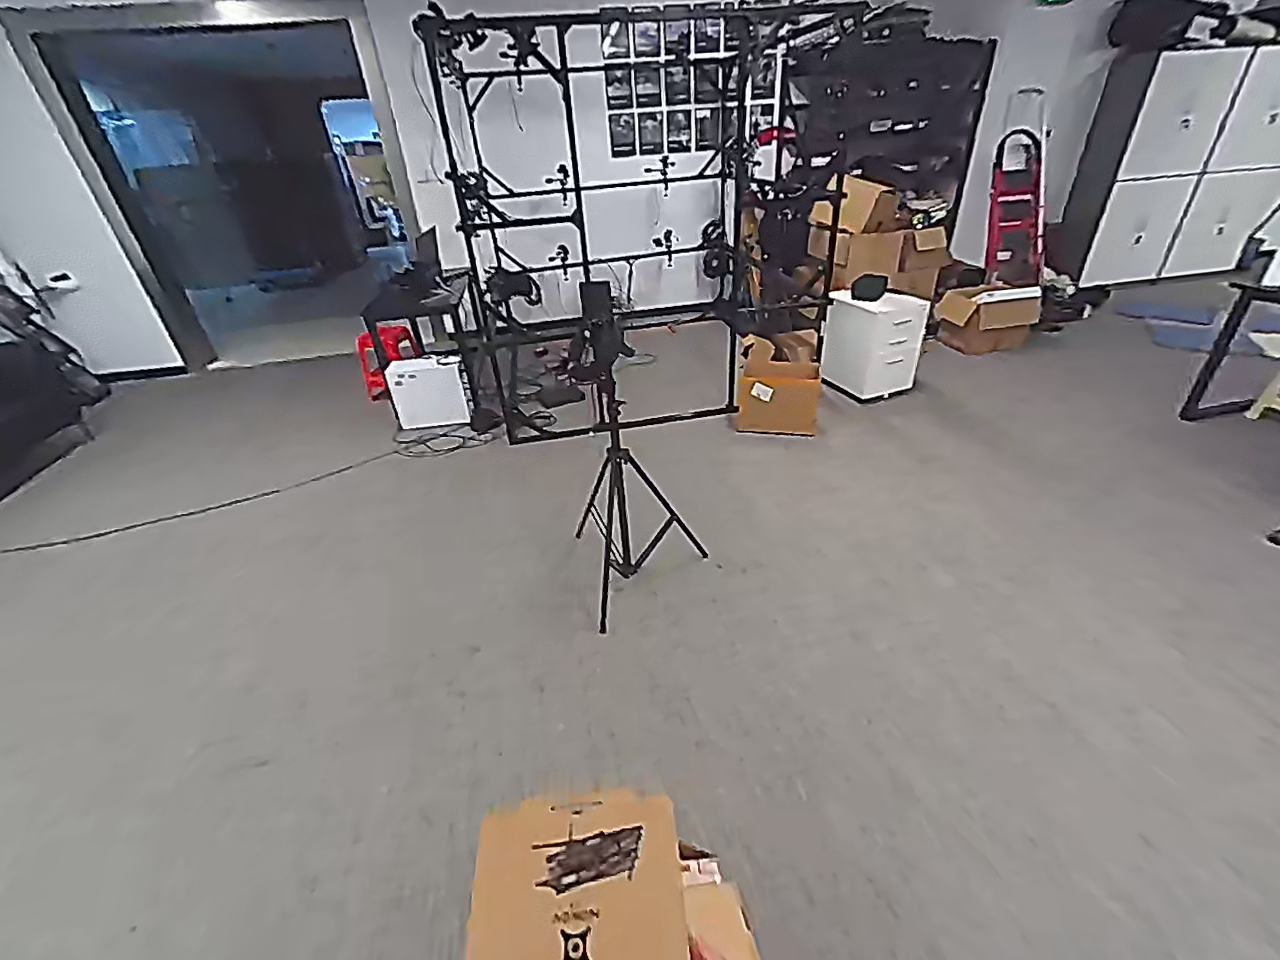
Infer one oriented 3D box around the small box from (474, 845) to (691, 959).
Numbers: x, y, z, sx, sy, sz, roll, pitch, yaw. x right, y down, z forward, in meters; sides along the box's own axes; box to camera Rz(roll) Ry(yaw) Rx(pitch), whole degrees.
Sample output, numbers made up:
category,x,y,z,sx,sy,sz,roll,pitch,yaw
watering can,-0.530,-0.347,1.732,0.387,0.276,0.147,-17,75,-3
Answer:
category,x,y,z,sx,sy,sz,roll,pitch,yaw
small box,-0.040,0.431,0.441,0.168,0.176,0.179,-5,41,-2
